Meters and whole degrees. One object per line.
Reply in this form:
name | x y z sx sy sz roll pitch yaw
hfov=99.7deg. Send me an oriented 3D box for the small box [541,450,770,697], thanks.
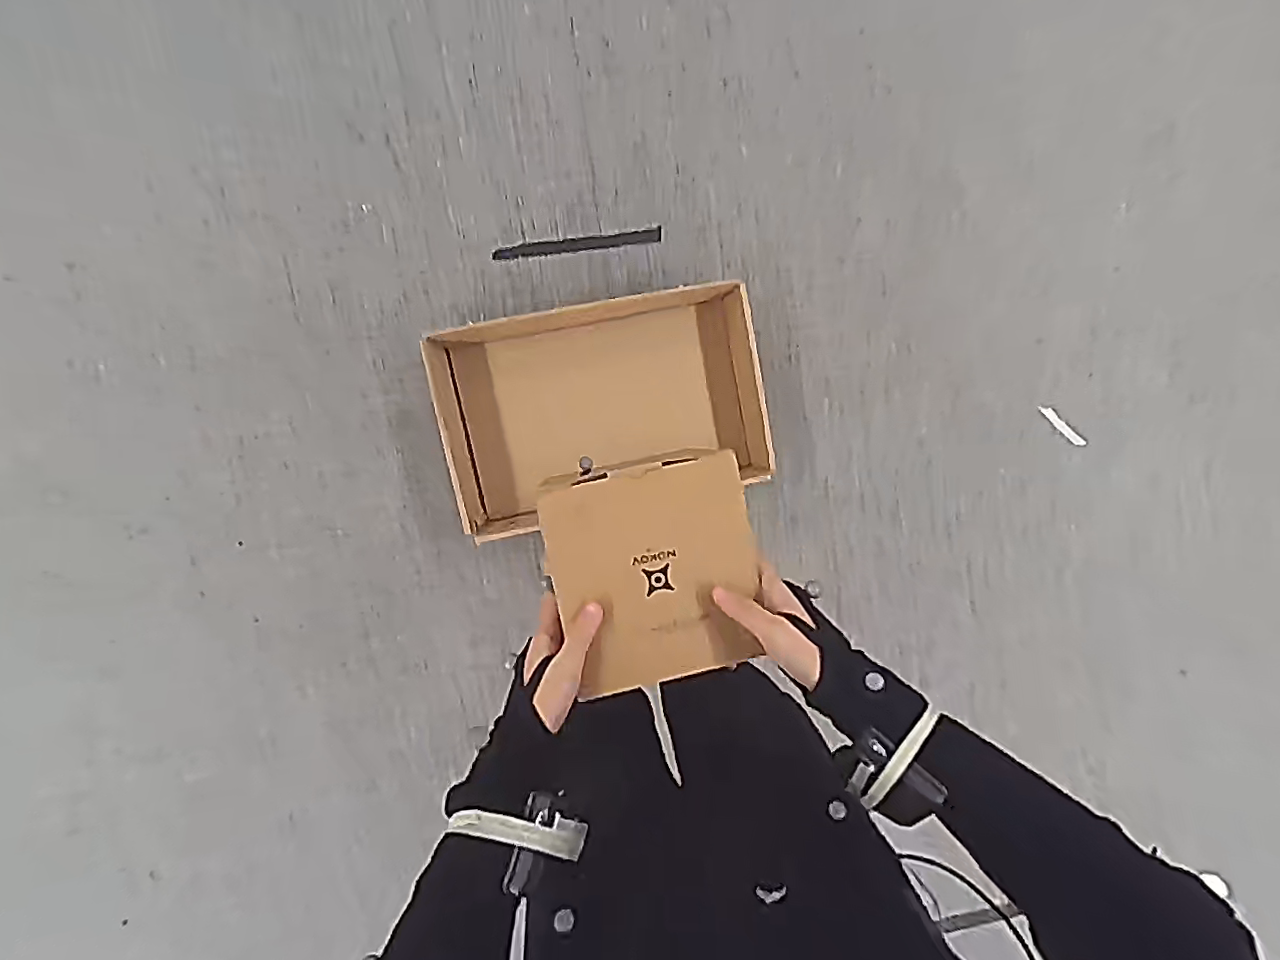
small box | 0.004 0.072 0.521 0.168 0.176 0.179 -13 95 -6
